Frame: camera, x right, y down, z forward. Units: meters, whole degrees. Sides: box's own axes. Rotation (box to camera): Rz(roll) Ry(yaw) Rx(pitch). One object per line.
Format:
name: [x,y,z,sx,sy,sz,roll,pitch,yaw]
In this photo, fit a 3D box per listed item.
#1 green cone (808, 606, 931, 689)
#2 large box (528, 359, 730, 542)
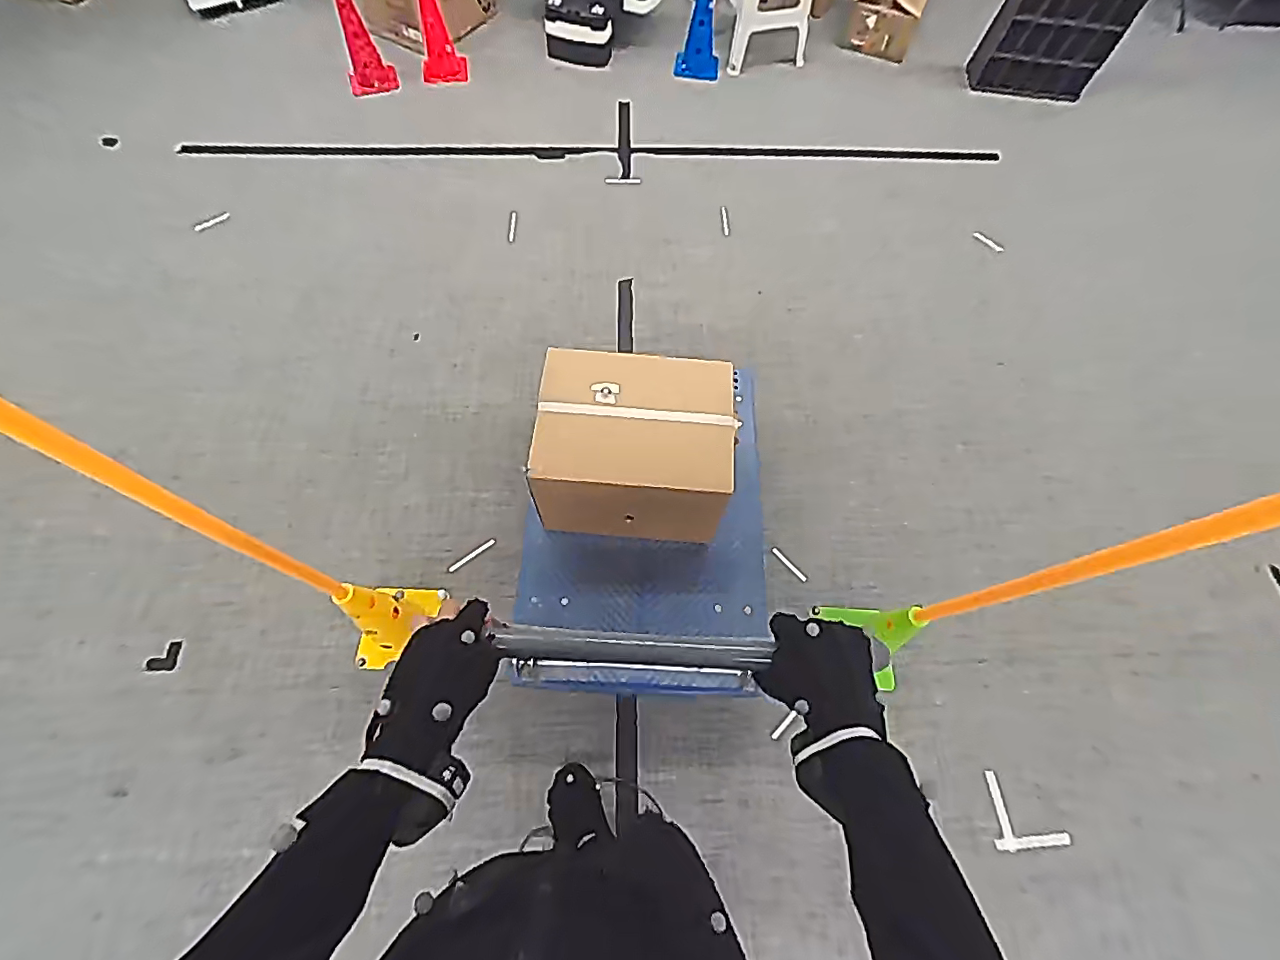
green cone: [0.546,0.353,1.235,0.202,0.368,0.200,4,64,-2]
large box: [-0.014,-0.054,1.254,0.408,0.320,0.320,5,65,1]
